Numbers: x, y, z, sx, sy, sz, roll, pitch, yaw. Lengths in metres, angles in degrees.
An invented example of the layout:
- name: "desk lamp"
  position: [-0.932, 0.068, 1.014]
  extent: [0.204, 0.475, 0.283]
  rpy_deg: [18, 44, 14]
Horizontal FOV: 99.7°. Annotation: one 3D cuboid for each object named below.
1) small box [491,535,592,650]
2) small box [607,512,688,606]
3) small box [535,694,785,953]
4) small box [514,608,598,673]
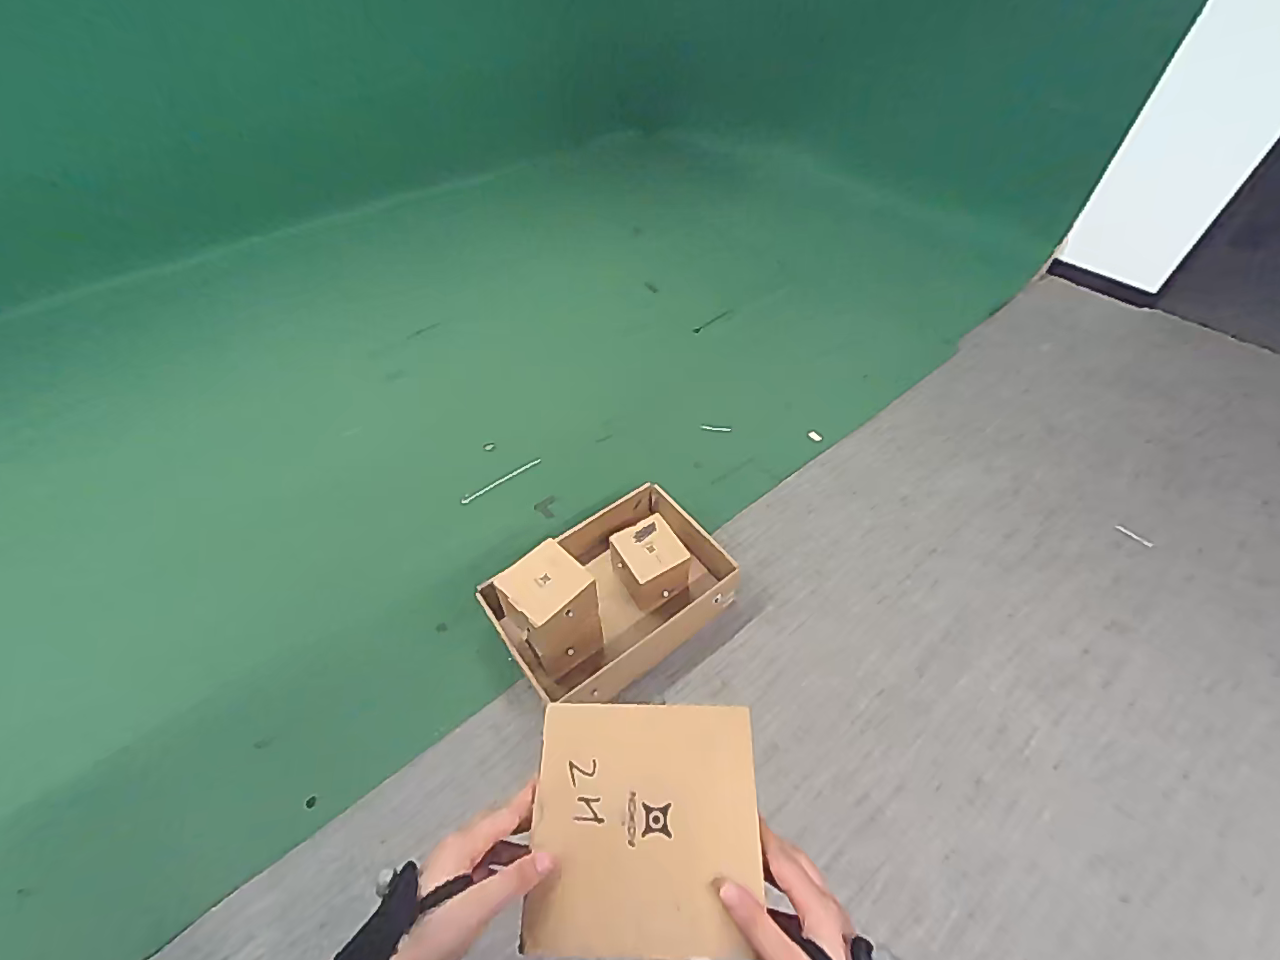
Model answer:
- name: "small box"
  position: [-0.228, 0.274, 1.298]
  extent: [0.168, 0.176, 0.179]
  rpy_deg: [37, 57, 24]
- name: "small box"
  position: [0.017, 0.229, 1.551]
  extent: [0.168, 0.176, 0.179]
  rpy_deg: [-25, 56, -19]
- name: "small box"
  position: [0.016, 0.296, 0.480]
  extent: [0.179, 0.176, 0.168]
  rpy_deg: [1, 56, 1]
- name: "small box"
  position: [-0.226, 0.376, 1.427]
  extent: [0.179, 0.176, 0.168]
  rpy_deg: [-30, 57, -22]
